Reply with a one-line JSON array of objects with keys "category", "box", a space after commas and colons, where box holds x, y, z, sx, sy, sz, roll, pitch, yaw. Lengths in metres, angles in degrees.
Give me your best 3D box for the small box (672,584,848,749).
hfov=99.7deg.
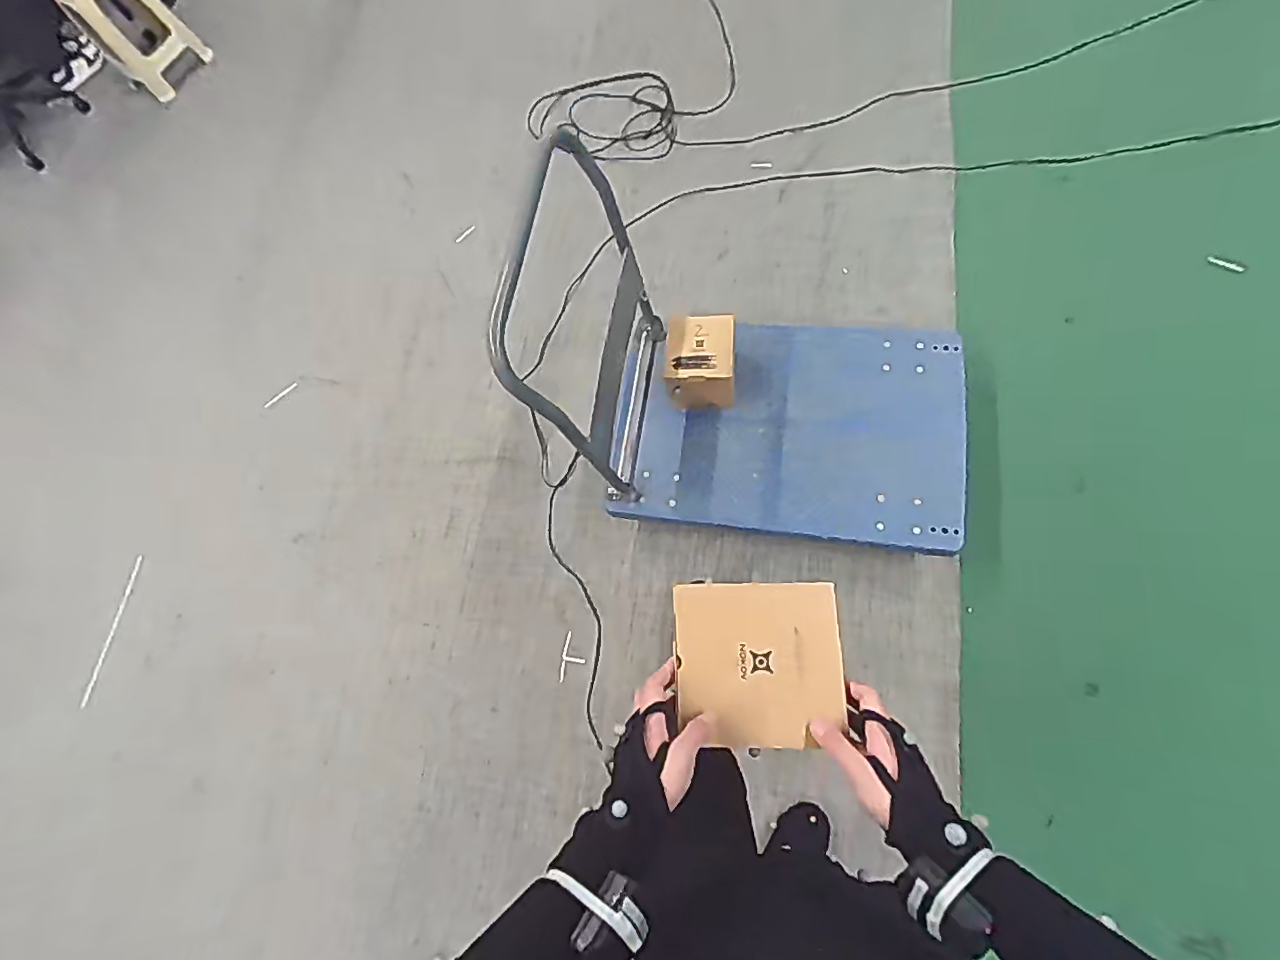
[{"category": "small box", "box": [0.130, 0.217, 0.645, 0.179, 0.176, 0.168, -1, 73, 4]}]
